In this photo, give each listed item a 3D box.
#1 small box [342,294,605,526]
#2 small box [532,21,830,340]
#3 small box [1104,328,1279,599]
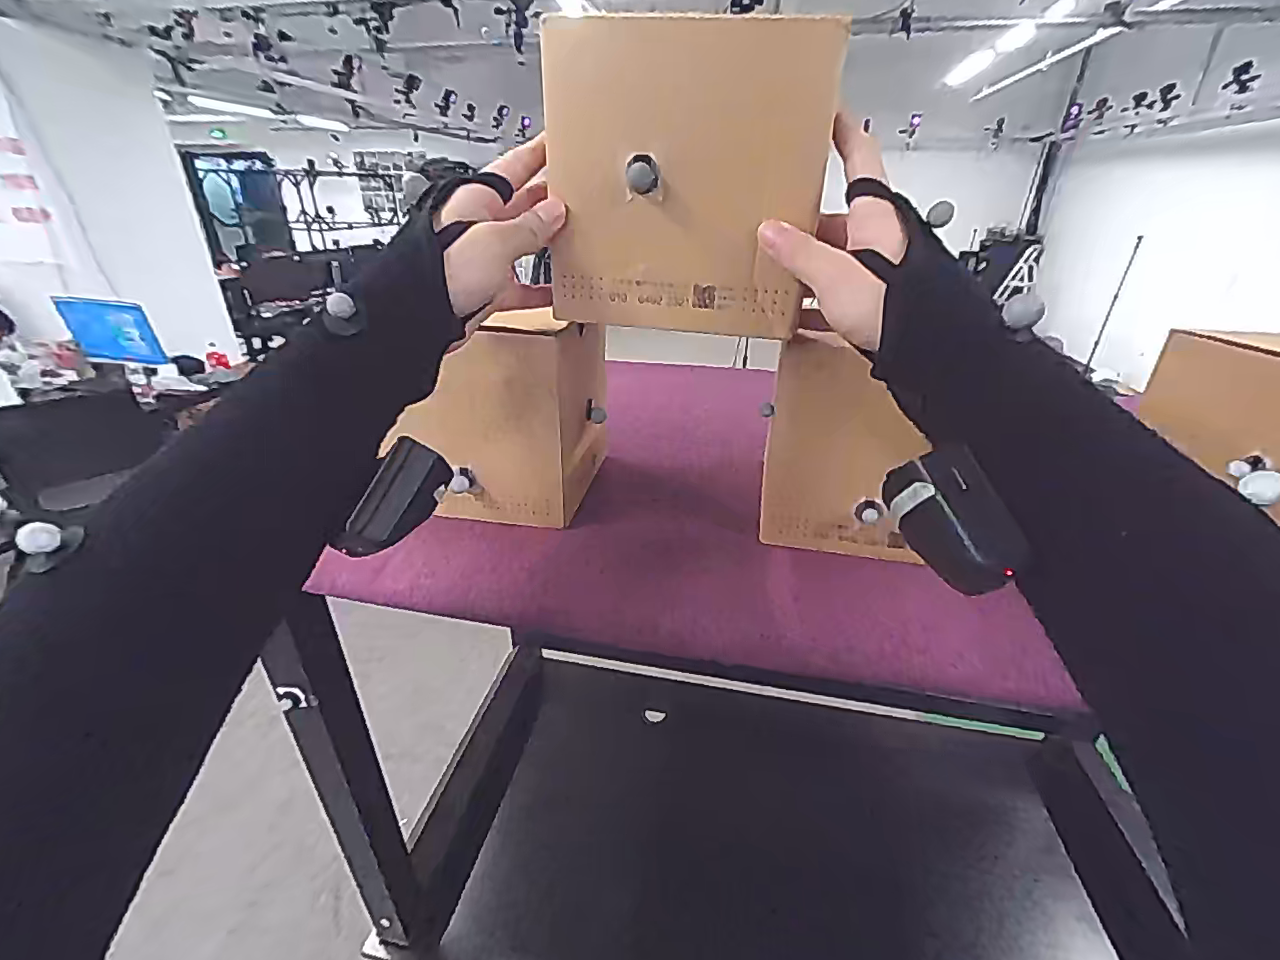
[{"bbox_3d":[-0.134,-0.071,0.508,0.179,0.176,0.168,6,26,7],"label":"small box"},{"bbox_3d":[0.034,-0.208,0.398,0.168,0.176,0.179,7,30,9],"label":"small box"},{"bbox_3d":[0.511,-0.012,0.405,0.168,0.176,0.179,5,26,8],"label":"small box"}]
